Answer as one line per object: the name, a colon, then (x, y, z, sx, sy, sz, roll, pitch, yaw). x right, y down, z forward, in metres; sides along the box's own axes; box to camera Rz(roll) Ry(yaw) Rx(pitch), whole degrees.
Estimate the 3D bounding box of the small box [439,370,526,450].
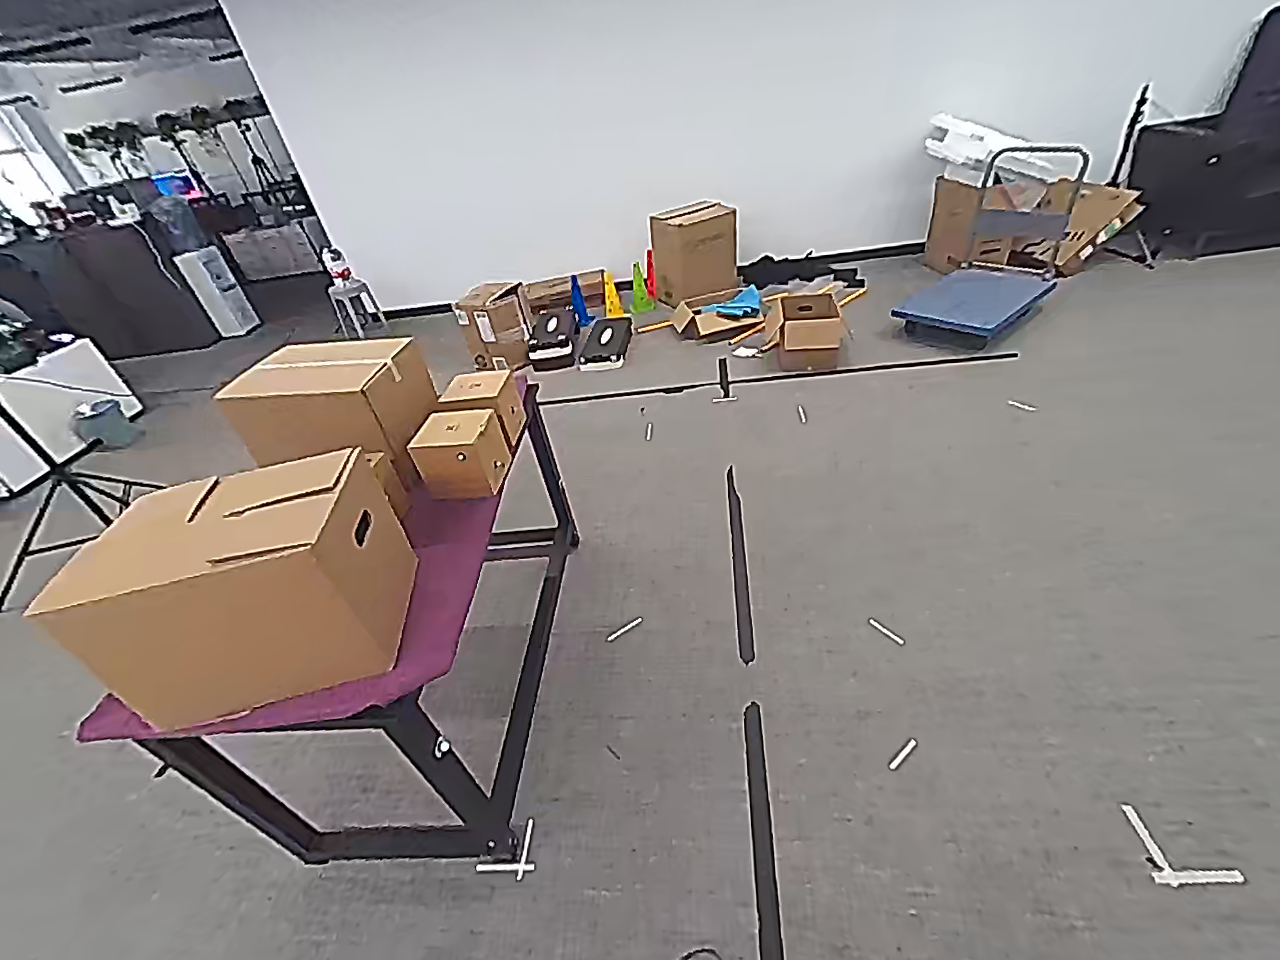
small box: (-0.447, -0.203, 1.578, 0.179, 0.176, 0.168, -4, 36, 9)
